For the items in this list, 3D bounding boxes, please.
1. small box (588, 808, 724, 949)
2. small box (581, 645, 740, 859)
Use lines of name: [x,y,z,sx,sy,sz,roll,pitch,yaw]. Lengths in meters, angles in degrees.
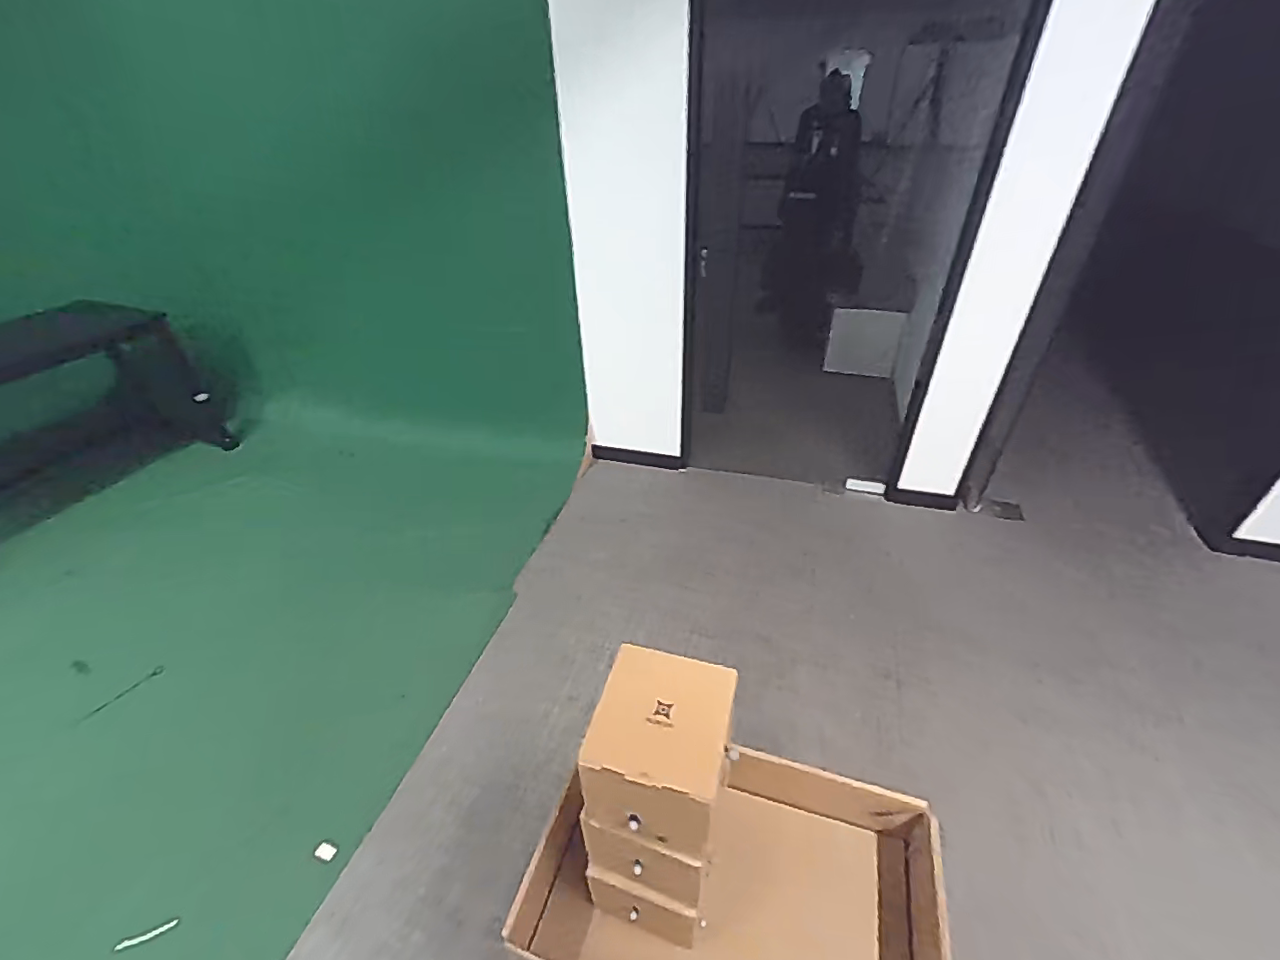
small box: [0.031,0.634,0.898,0.179,0.176,0.168,11,38,17]
small box: [0.033,0.358,0.723,0.168,0.176,0.179,9,38,15]
